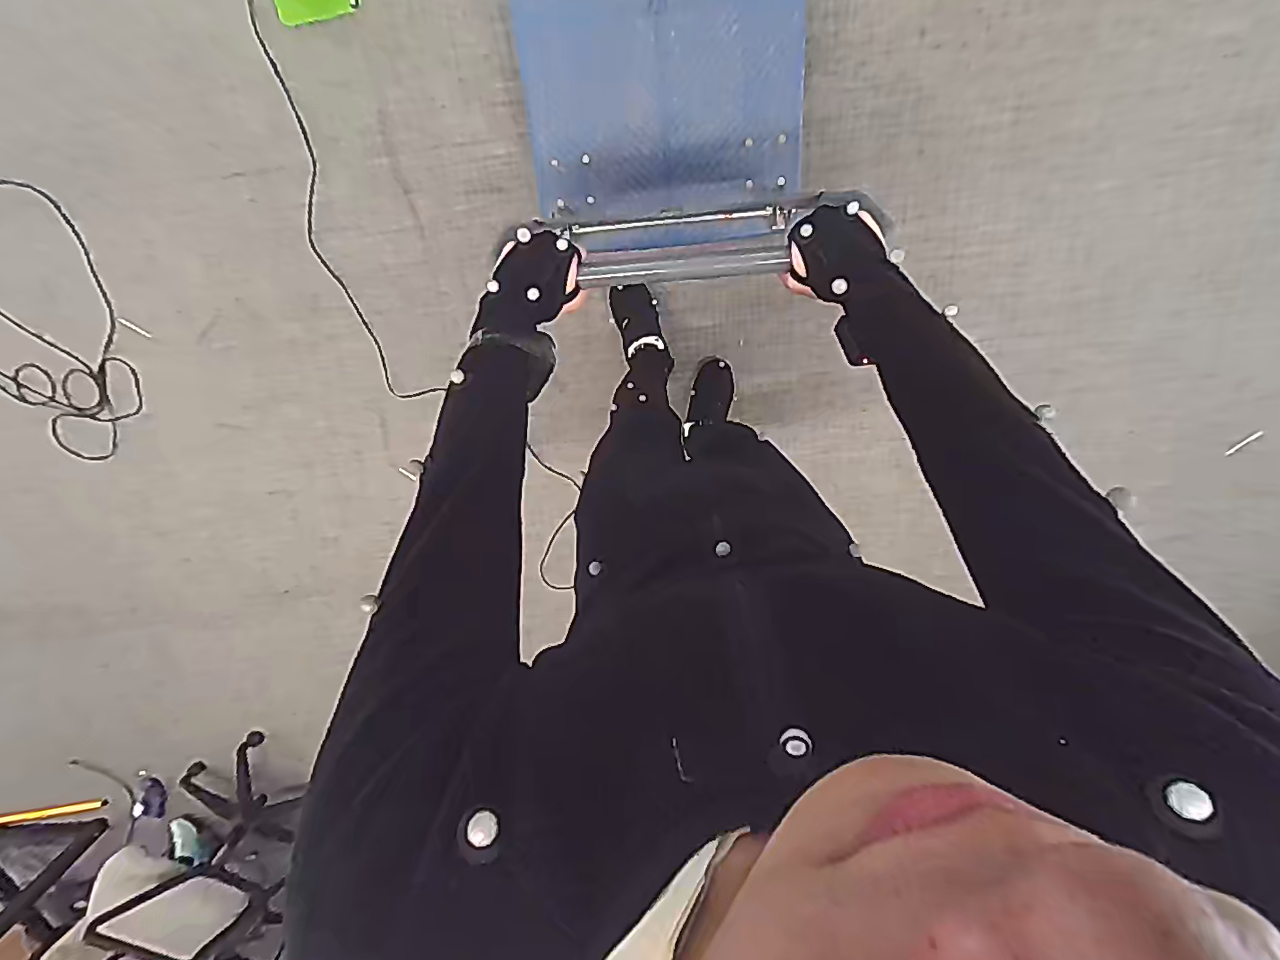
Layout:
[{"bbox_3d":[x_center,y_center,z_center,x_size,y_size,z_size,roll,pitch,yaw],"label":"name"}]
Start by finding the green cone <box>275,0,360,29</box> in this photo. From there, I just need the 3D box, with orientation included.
[{"bbox_3d":[-0.754,-1.077,1.044,0.202,0.368,0.200,-7,112,8],"label":"green cone"}]
